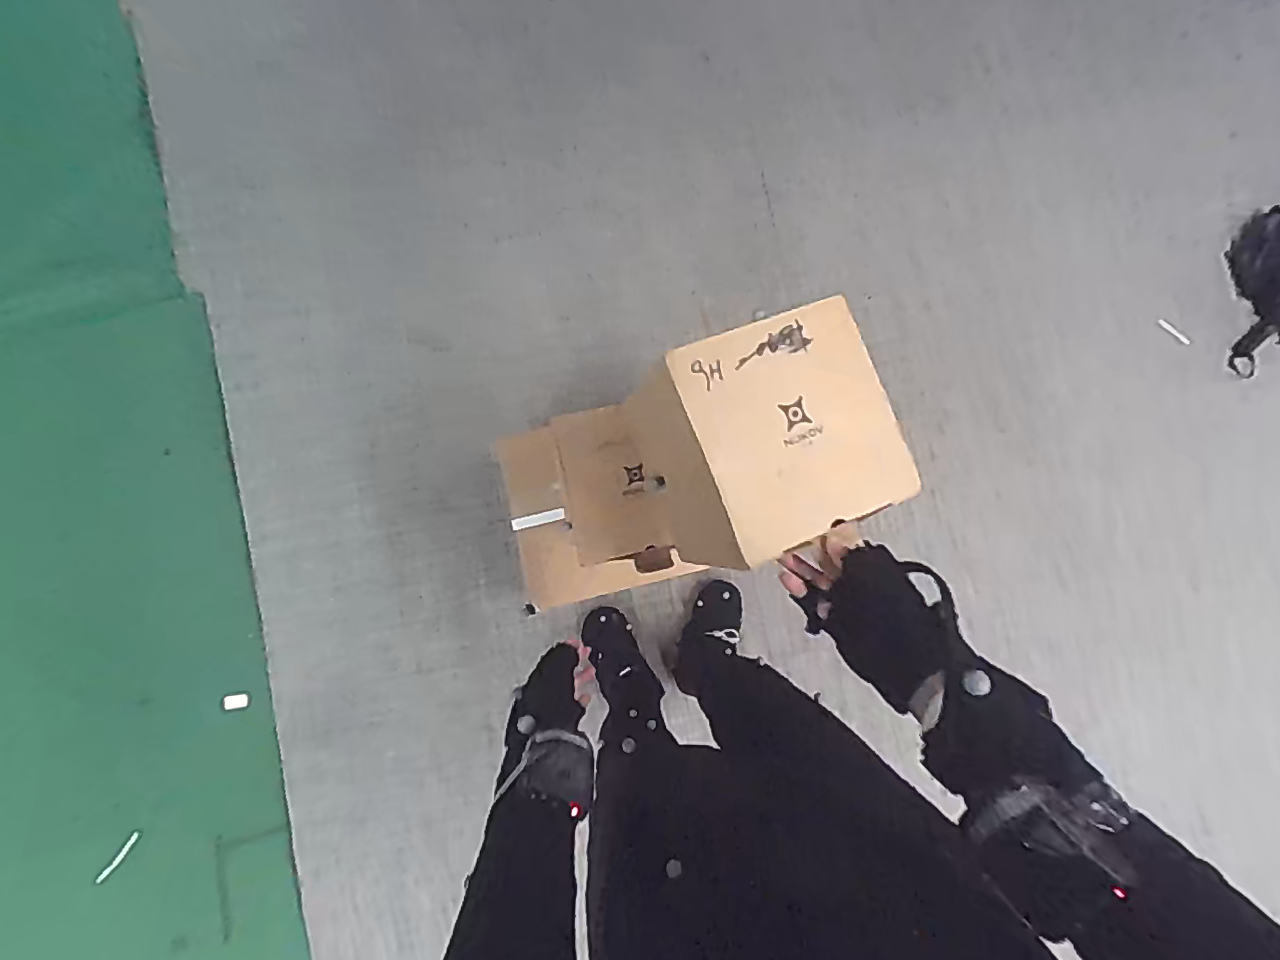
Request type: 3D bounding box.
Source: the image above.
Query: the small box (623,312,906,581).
[{"bbox_3d":[0.099,-0.024,0.503,0.168,0.176,0.179,-22,89,-13],"label":"small box"}]

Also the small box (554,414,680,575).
[{"bbox_3d":[-0.009,0.009,0.705,0.168,0.176,0.179,-13,90,-6],"label":"small box"}]
